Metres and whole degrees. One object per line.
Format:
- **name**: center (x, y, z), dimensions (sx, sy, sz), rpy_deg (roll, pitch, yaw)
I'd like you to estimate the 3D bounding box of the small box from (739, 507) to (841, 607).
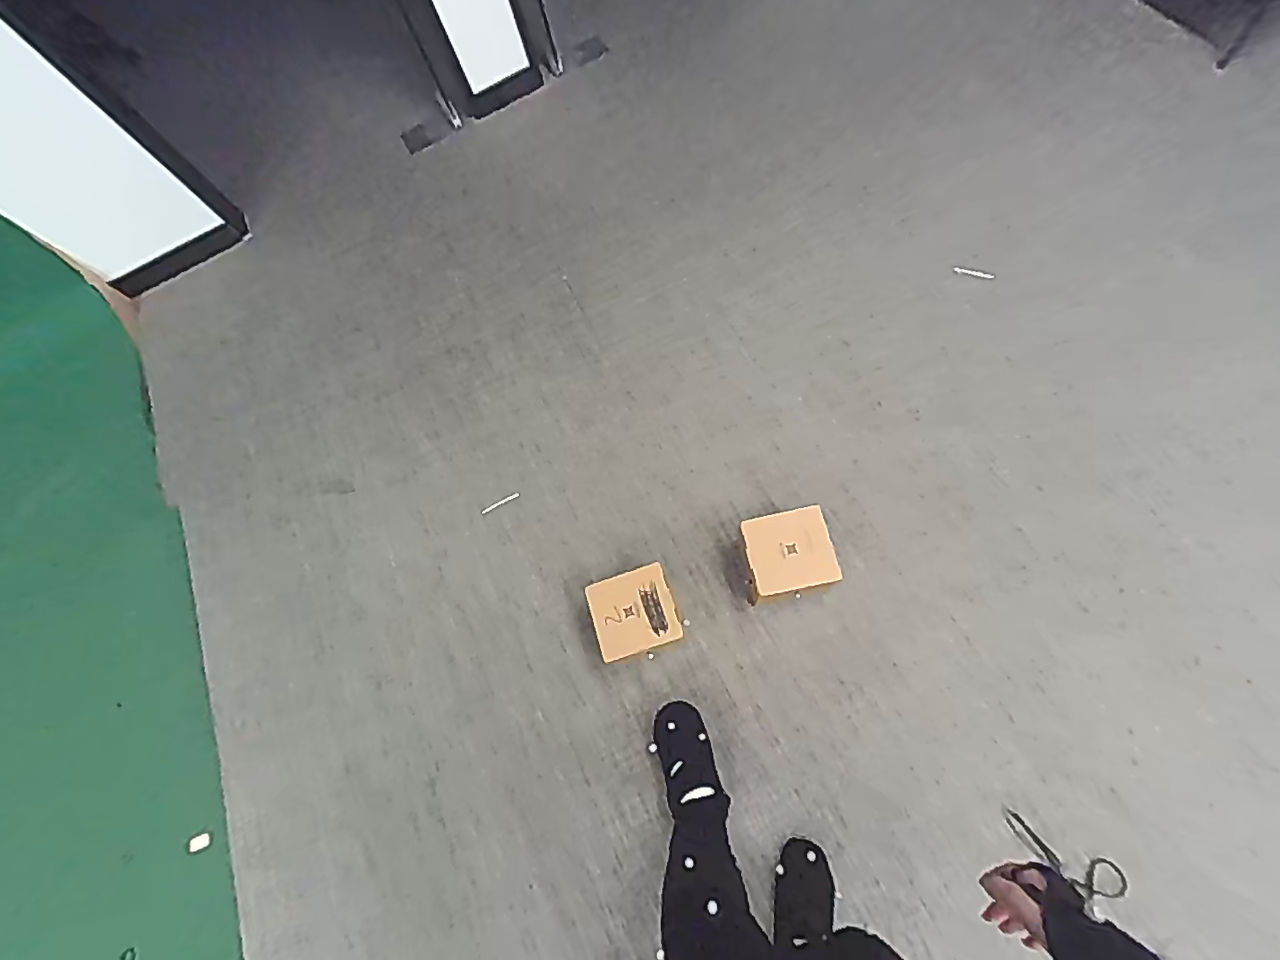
- **small box**: center (0.323, 0.177, 1.198), dimensions (0.179, 0.176, 0.168), rpy_deg (-12, 69, 4)
